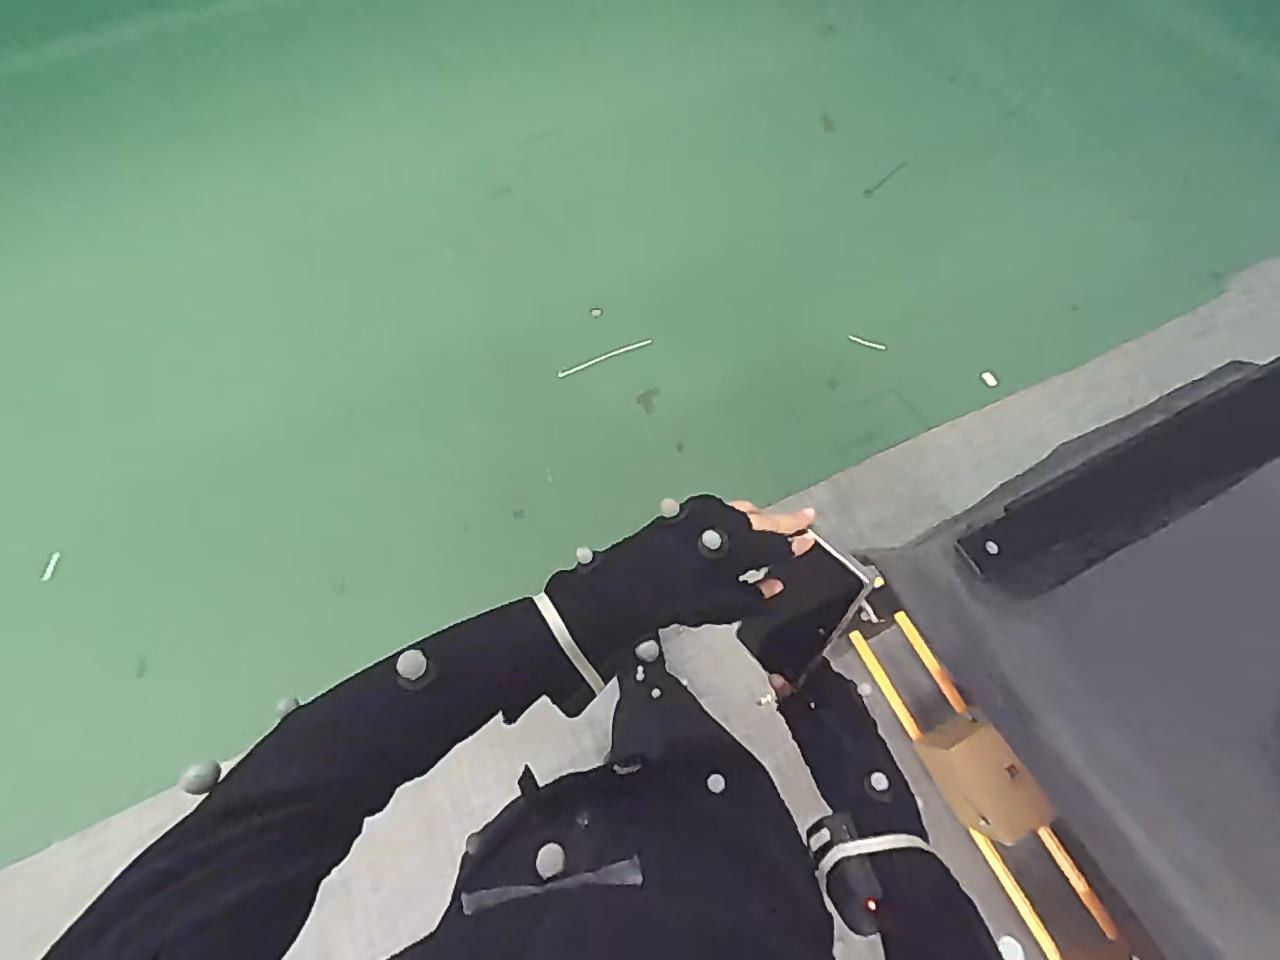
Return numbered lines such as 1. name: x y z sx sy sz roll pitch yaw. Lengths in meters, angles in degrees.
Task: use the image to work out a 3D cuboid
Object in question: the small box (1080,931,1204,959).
1. small box: 0.887 0.918 0.912 0.179 0.176 0.168 -22 68 -8
